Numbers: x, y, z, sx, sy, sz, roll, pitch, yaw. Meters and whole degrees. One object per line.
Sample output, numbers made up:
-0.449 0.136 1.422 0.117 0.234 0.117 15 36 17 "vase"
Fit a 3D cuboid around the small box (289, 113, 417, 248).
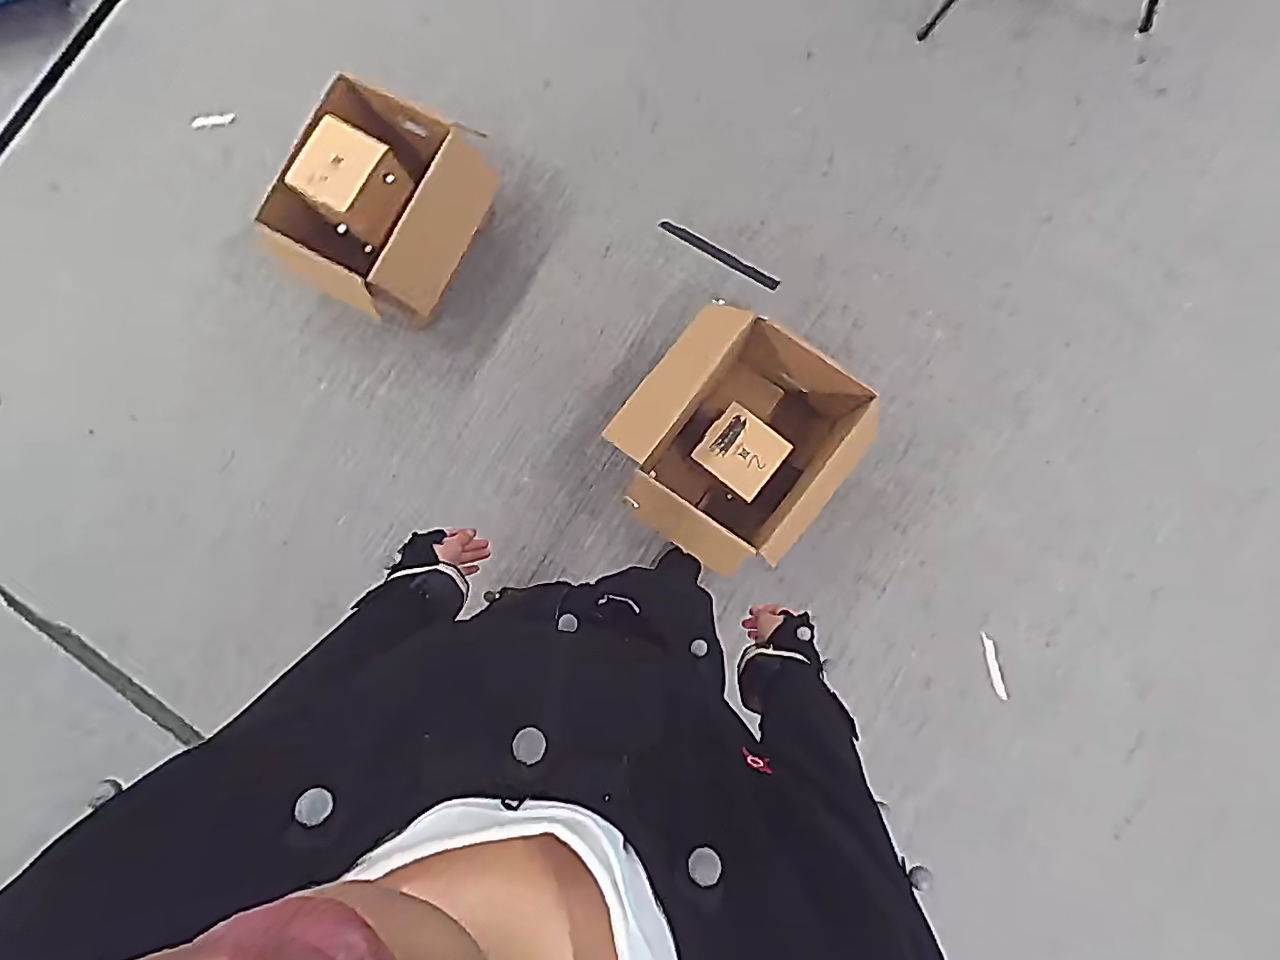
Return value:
-0.646 -0.680 1.246 0.168 0.176 0.179 31 88 6 "small box"
